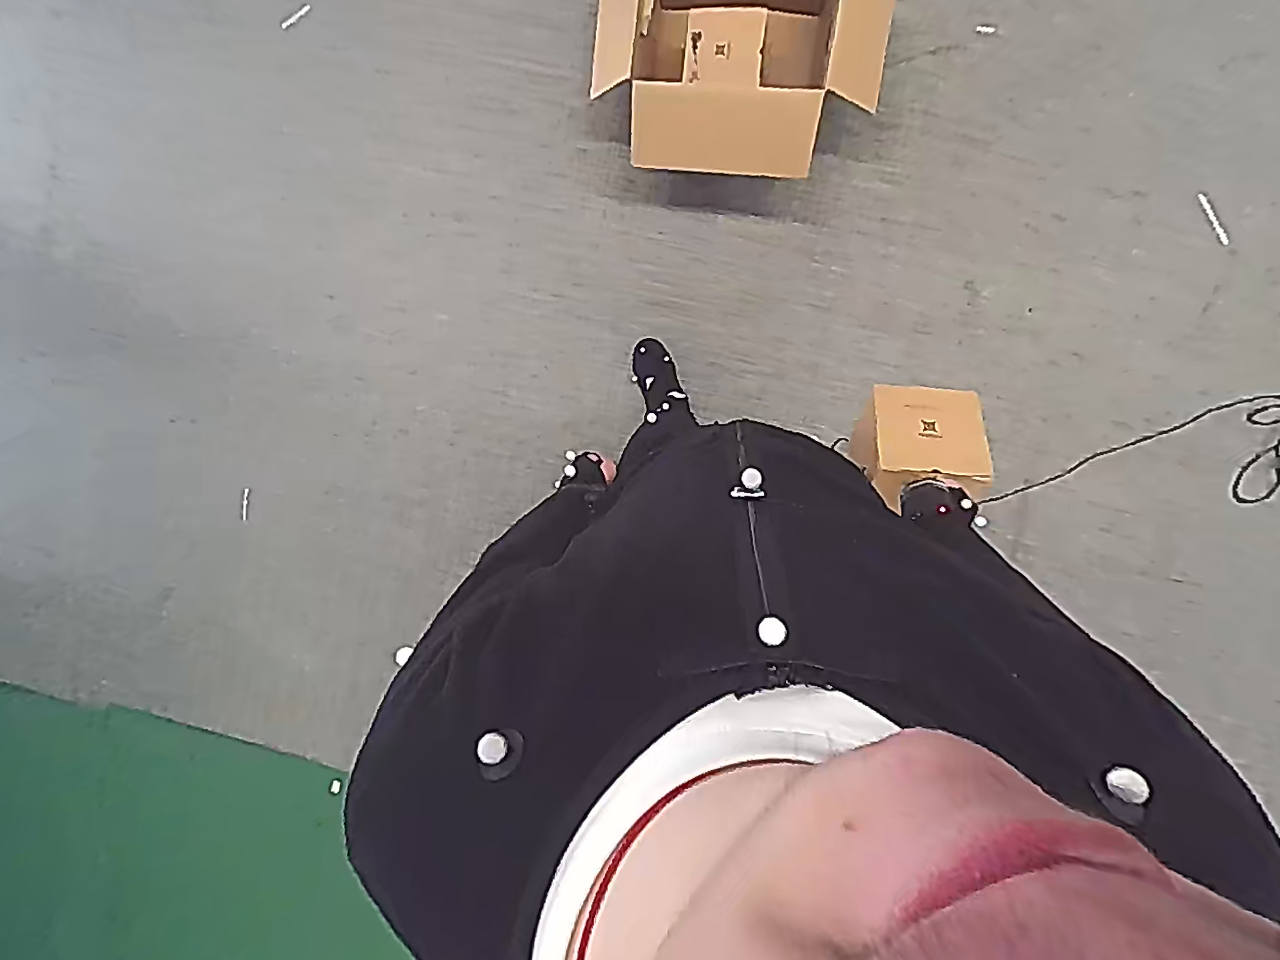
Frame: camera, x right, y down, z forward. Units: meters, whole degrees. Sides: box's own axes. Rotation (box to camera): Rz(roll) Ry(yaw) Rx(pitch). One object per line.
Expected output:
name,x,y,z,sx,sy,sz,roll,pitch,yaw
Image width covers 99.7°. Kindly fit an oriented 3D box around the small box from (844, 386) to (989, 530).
small box,0.452,-0.033,0.914,0.168,0.176,0.179,7,56,7
